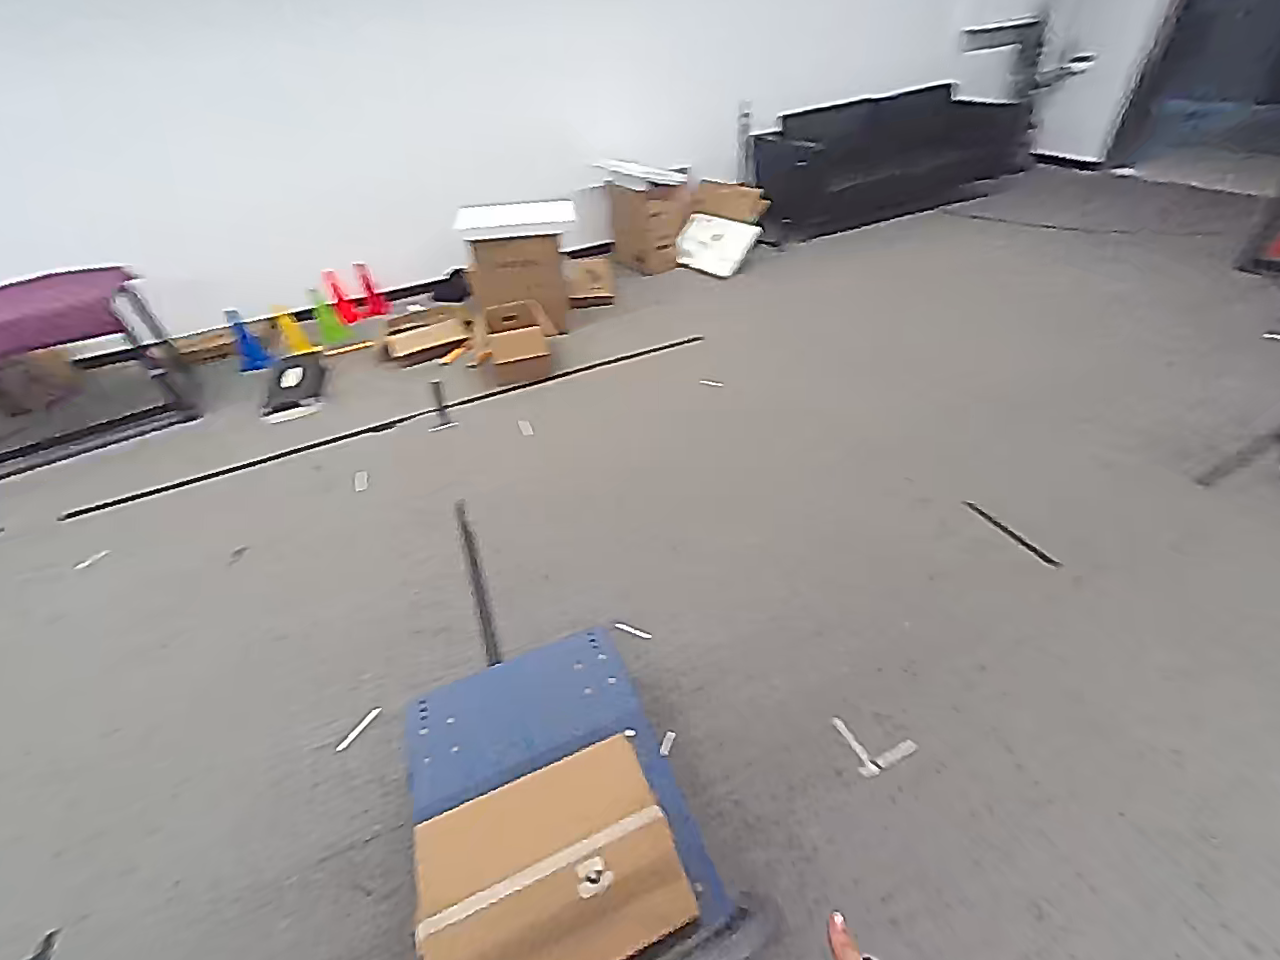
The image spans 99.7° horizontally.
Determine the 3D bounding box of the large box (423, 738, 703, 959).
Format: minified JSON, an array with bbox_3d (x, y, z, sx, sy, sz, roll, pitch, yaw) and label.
[{"bbox_3d":[-0.131,0.761,0.980,0.408,0.320,0.320,-18,41,-15],"label":"large box"}]
